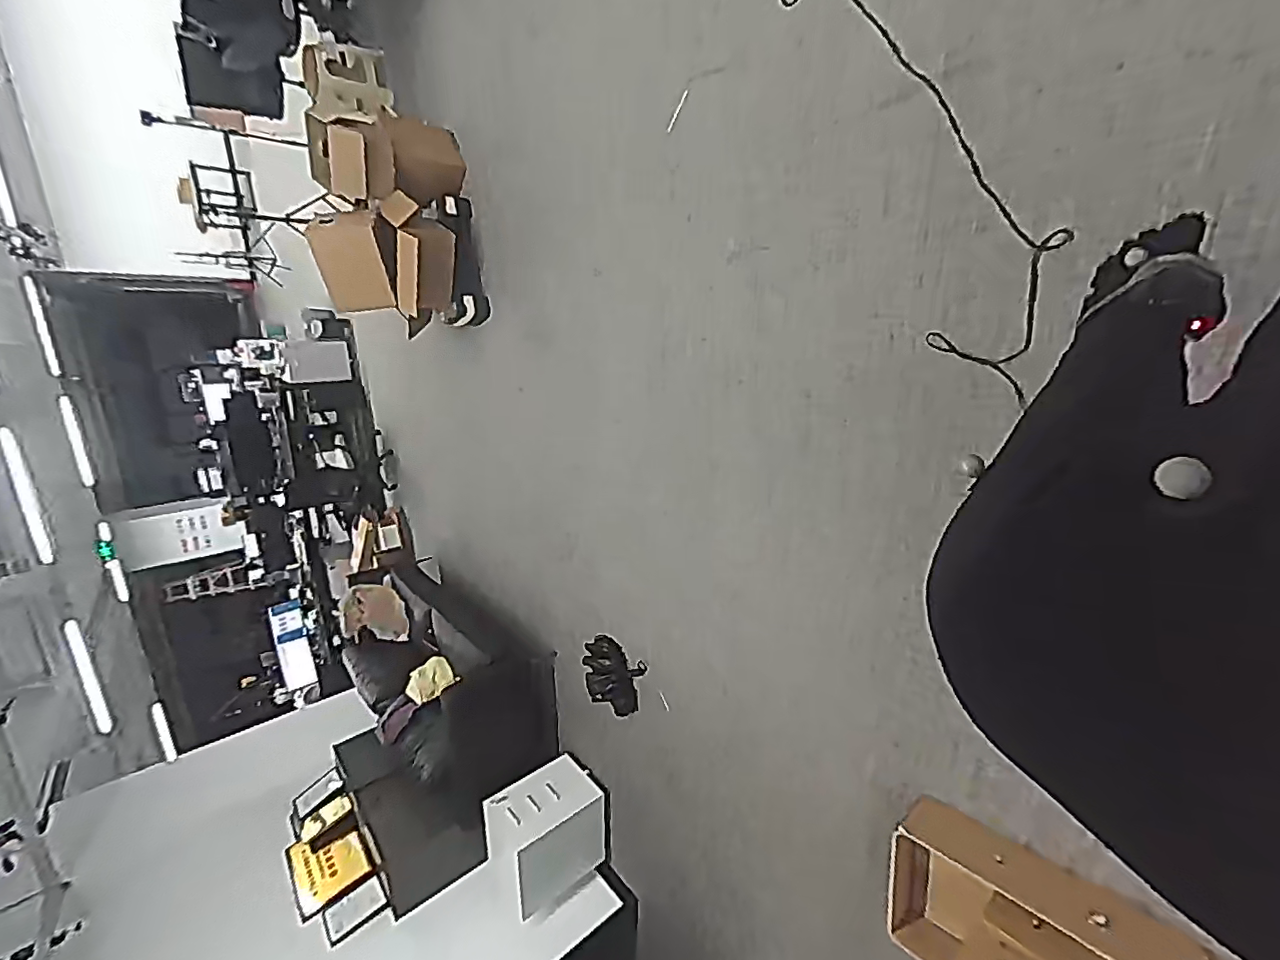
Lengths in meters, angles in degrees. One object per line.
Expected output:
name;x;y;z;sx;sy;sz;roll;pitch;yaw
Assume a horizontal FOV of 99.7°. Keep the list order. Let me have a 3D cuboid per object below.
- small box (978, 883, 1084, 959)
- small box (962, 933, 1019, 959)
small box;0.961;1.156;1.340;0.179;0.176;0.168;13;112;47
small box;0.825;1.207;1.235;0.168;0.176;0.179;8;107;49
